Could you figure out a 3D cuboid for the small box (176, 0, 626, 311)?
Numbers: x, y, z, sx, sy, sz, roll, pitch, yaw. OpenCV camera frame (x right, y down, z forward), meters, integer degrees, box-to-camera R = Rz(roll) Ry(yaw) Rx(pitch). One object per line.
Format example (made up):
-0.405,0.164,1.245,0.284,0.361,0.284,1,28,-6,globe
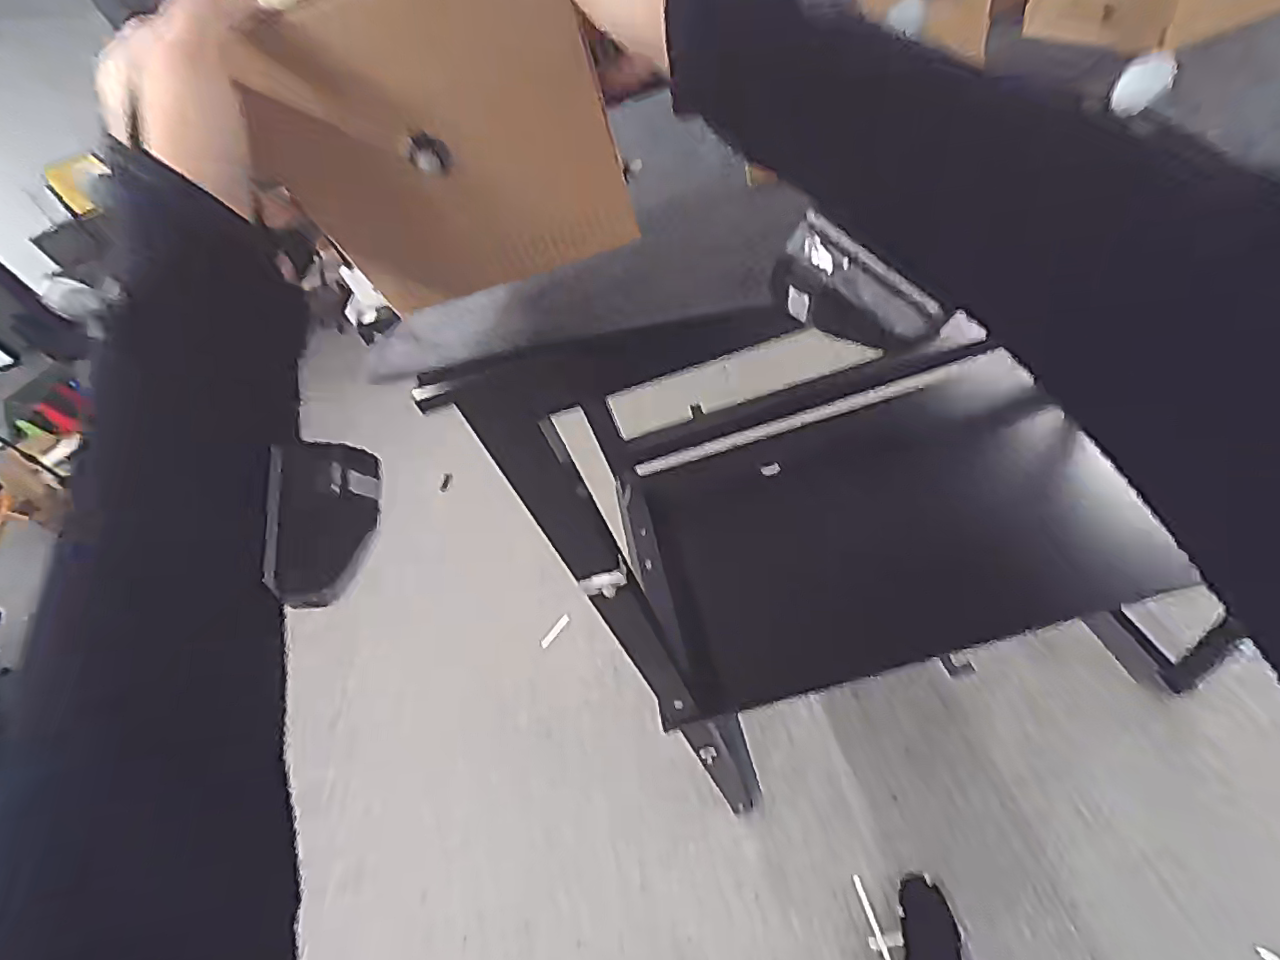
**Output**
-0.114,-0.237,0.329,0.179,0.176,0.168,-16,63,7,small box

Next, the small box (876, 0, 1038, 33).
0.378,-0.632,0.601,0.168,0.176,0.179,-19,45,5,small box
